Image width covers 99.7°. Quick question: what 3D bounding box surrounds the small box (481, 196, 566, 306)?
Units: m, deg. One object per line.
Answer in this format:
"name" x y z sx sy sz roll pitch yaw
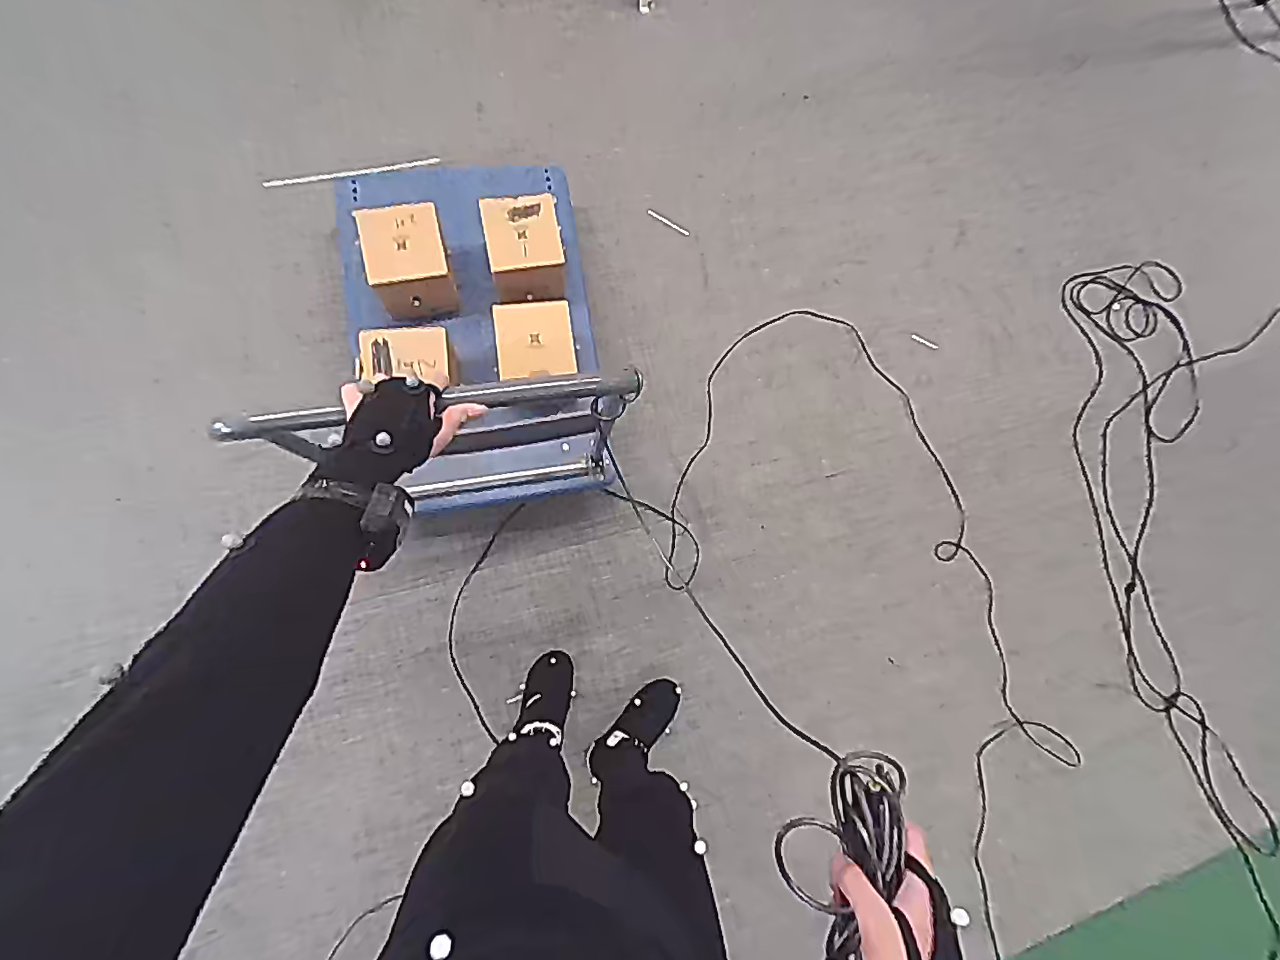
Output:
"small box" -0.271 -0.536 1.280 0.168 0.176 0.179 -10 82 -9

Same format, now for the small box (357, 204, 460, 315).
"small box" -0.521 -0.494 1.237 0.168 0.176 0.179 -11 81 -11

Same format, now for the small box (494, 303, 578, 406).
"small box" -0.238 -0.283 1.241 0.168 0.176 0.179 -7 82 -9
